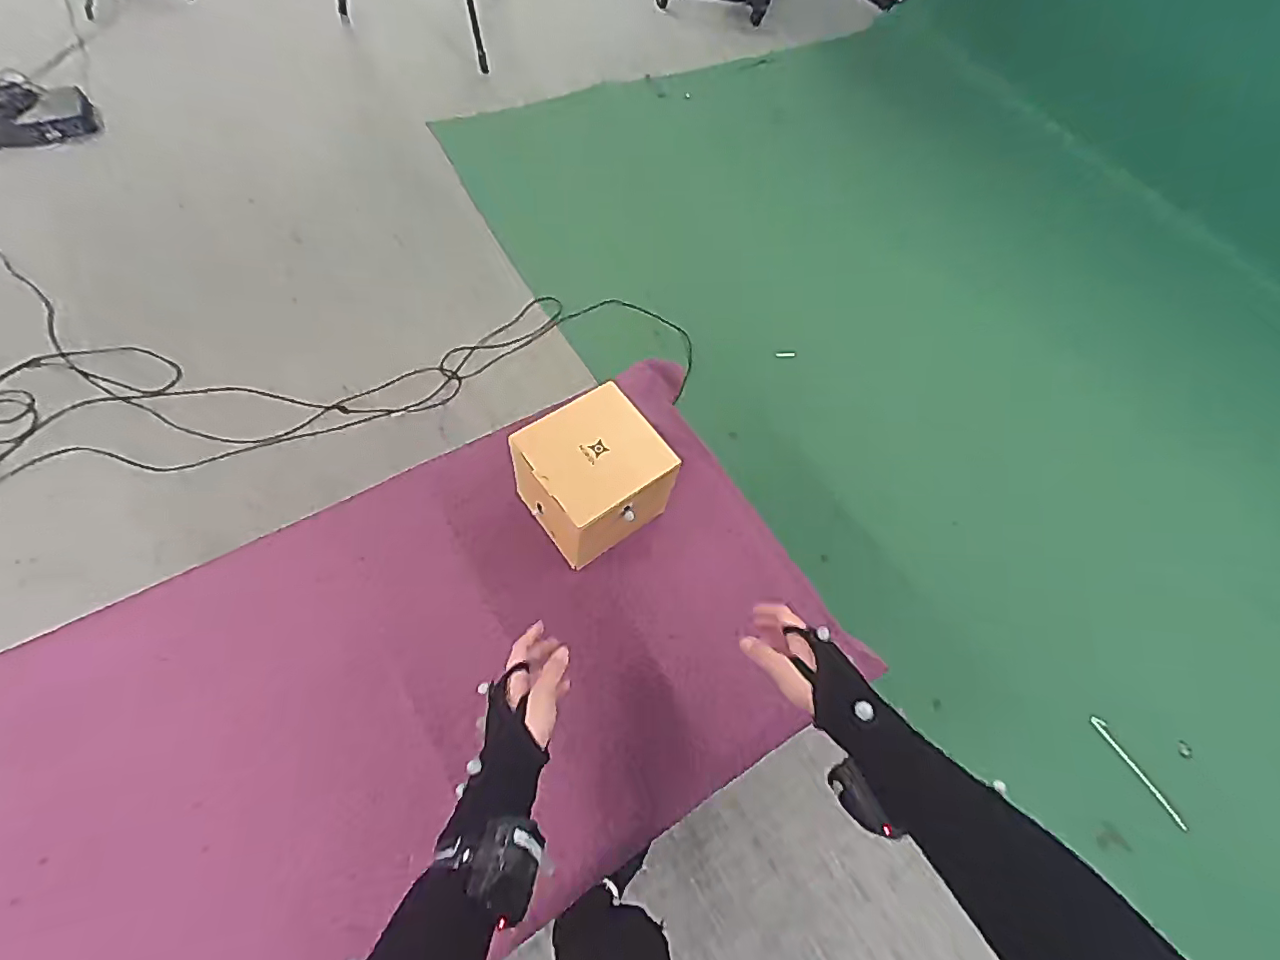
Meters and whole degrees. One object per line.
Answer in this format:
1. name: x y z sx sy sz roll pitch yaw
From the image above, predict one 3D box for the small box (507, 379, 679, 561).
1. small box: -0.071 -0.009 0.792 0.179 0.176 0.168 -34 73 -19
